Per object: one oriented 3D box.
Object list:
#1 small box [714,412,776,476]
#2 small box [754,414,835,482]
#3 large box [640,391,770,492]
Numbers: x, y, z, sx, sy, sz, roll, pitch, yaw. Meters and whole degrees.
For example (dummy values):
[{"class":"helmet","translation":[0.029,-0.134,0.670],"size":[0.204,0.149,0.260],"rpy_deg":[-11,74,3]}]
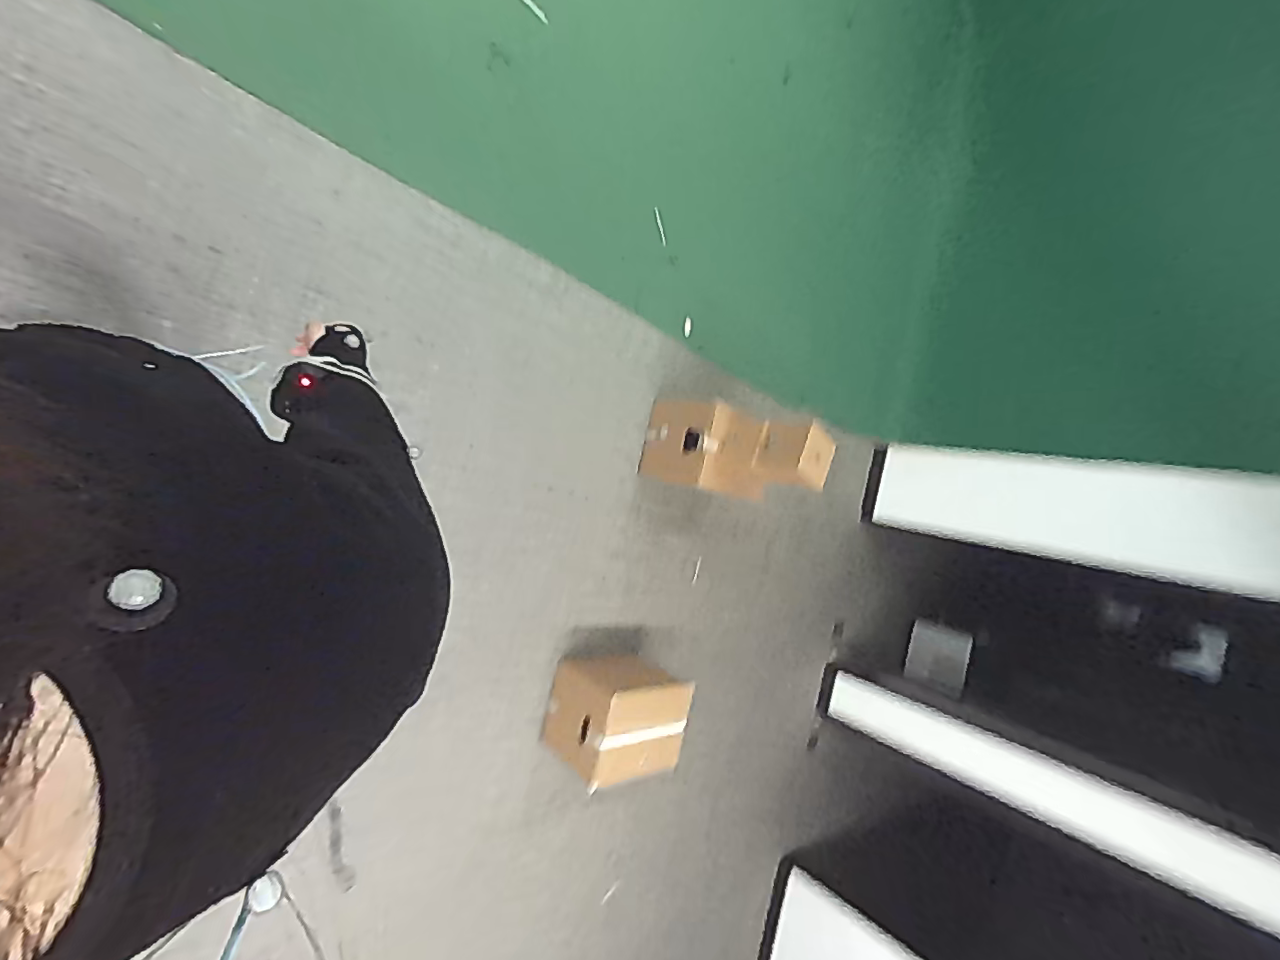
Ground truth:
[{"class":"small box","translation":[0.391,-0.130,1.891],"size":[0.179,0.176,0.168],"rpy_deg":[28,79,-42]},{"class":"small box","translation":[0.508,-0.111,1.779],"size":[0.179,0.176,0.168],"rpy_deg":[32,75,-41]},{"class":"large box","translation":[0.262,-0.151,2.103],"size":[0.408,0.320,0.320],"rpy_deg":[13,90,-44]}]
